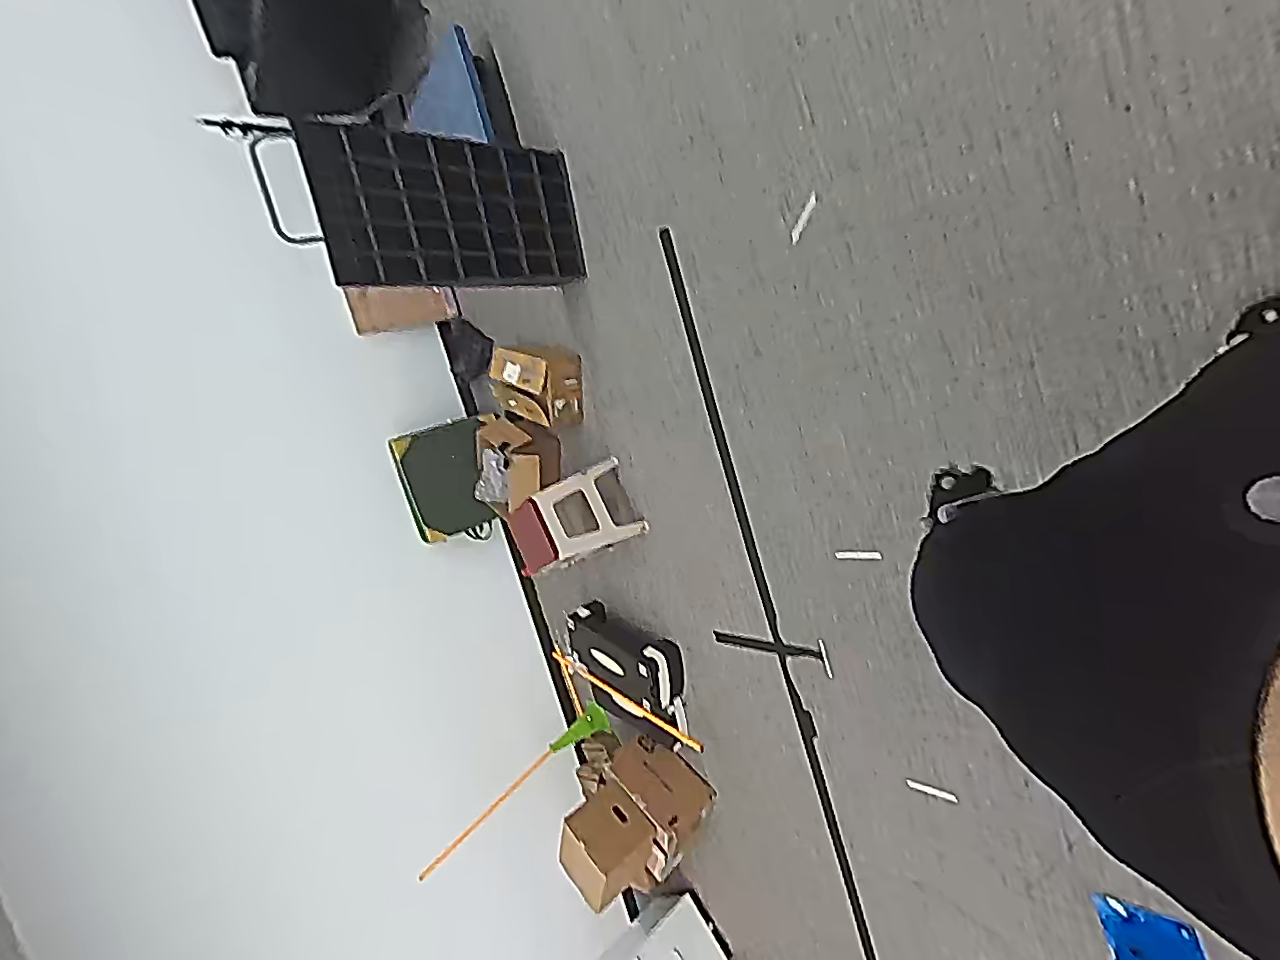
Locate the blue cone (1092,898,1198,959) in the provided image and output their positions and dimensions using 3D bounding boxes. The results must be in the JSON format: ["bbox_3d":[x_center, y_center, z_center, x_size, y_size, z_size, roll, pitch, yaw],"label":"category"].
[{"bbox_3d":[1.158,1.216,1.262,0.193,0.380,0.192,-17,93,52],"label":"blue cone"}]
